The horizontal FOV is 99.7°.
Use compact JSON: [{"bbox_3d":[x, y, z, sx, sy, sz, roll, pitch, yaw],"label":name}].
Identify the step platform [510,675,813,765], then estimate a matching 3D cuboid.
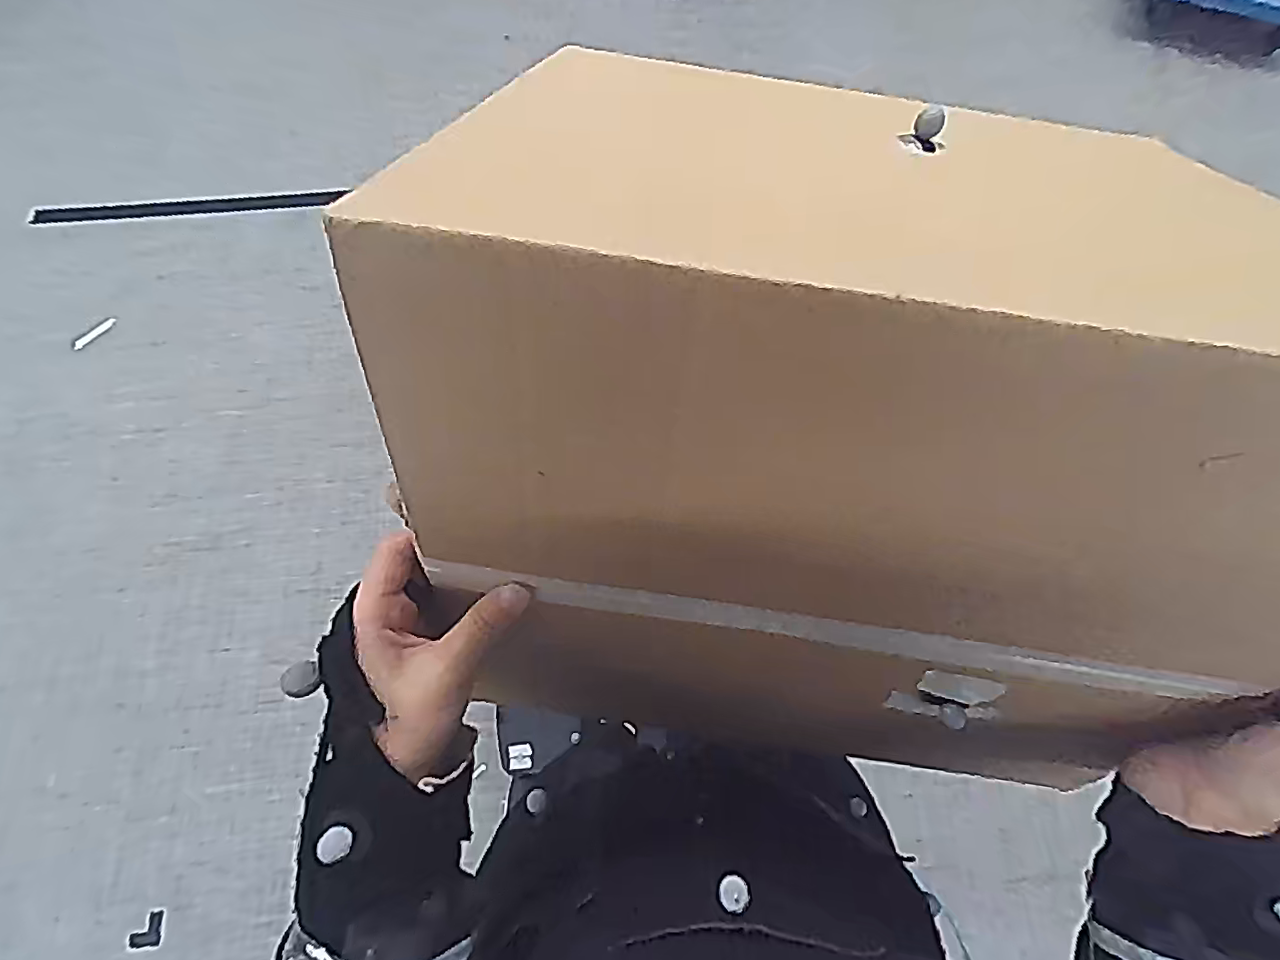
[{"bbox_3d":[0.047,0.485,1.261,0.684,0.204,0.286,2,76,-1],"label":"step platform"}]
